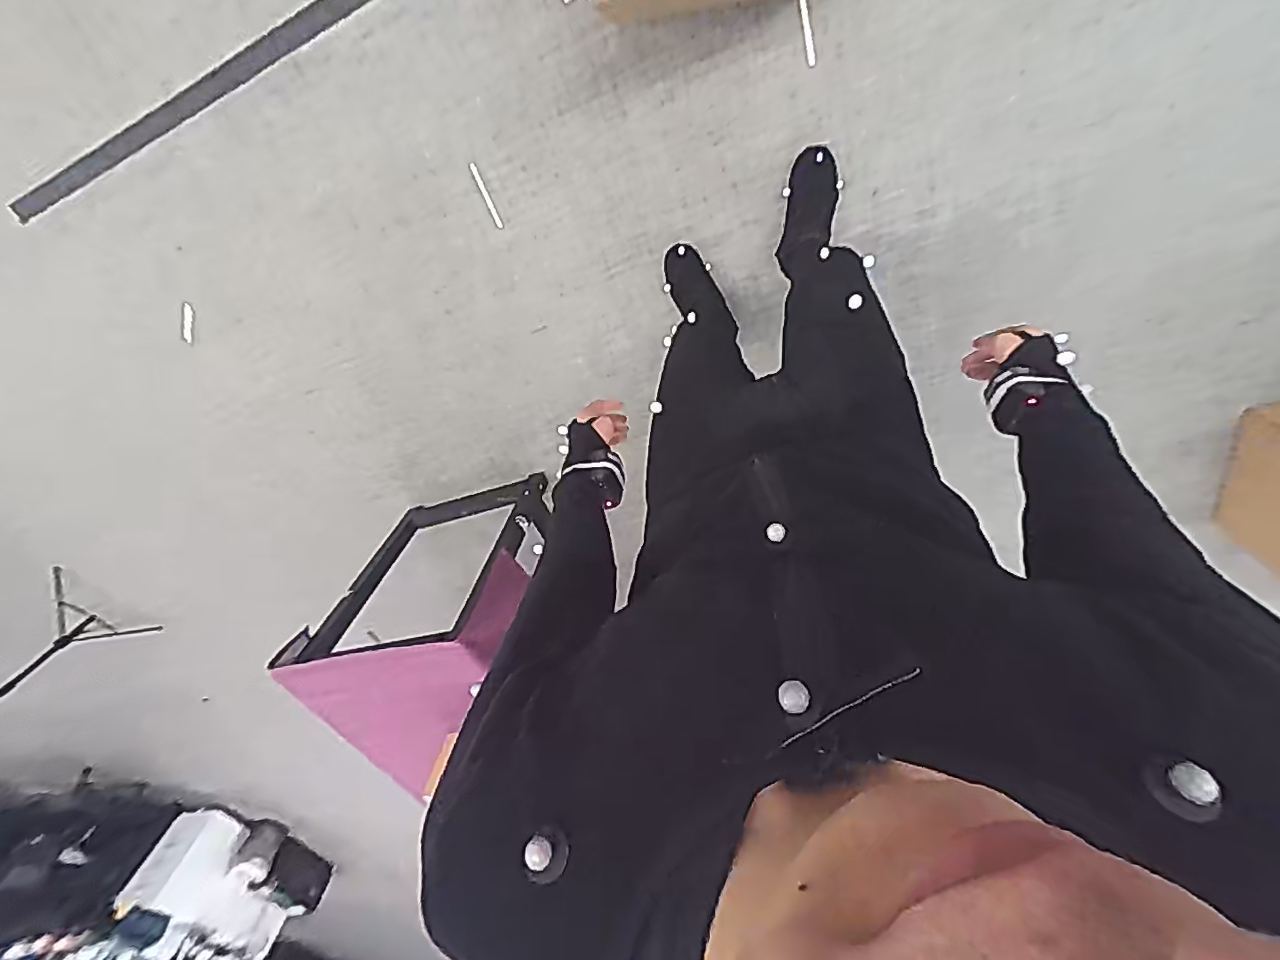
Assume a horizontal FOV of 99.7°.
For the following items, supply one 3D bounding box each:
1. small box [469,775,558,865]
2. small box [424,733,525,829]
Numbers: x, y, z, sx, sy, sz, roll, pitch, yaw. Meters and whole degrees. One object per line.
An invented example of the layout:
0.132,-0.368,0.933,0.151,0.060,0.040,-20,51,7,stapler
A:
-0.346,0.957,1.527,0.179,0.176,0.168,-10,122,15,small box
-0.419,0.782,1.413,0.179,0.176,0.168,-17,121,20,small box
